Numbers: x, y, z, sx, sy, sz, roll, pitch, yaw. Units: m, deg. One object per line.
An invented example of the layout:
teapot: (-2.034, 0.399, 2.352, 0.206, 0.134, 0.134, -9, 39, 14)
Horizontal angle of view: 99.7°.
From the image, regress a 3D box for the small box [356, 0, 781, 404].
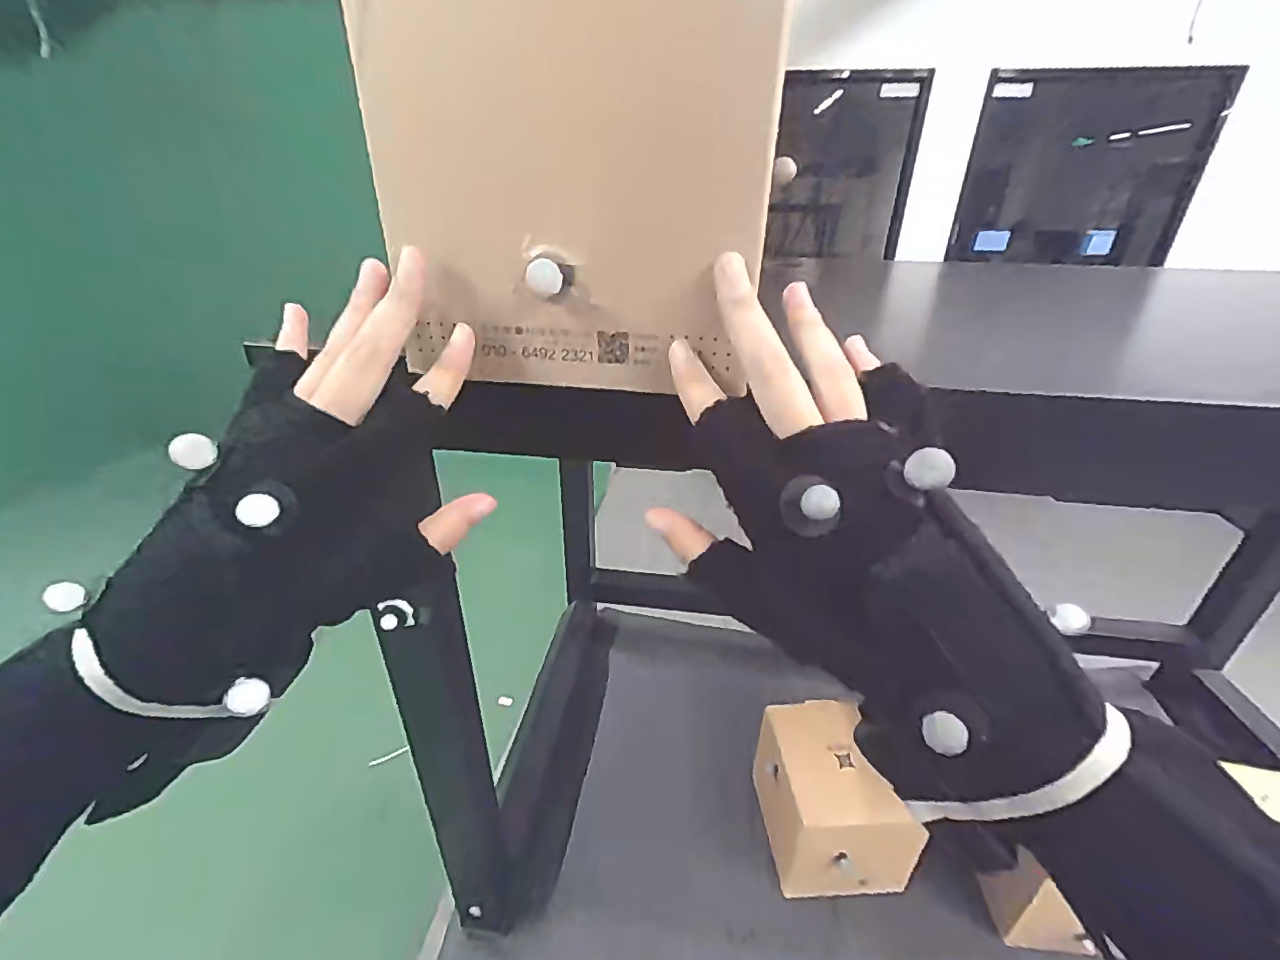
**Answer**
small box: (-0.021, -0.154, 0.298, 0.168, 0.176, 0.179, 5, 29, 8)

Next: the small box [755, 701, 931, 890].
small box: (0.266, 0.438, 0.751, 0.168, 0.176, 0.179, -1, 28, -3)
